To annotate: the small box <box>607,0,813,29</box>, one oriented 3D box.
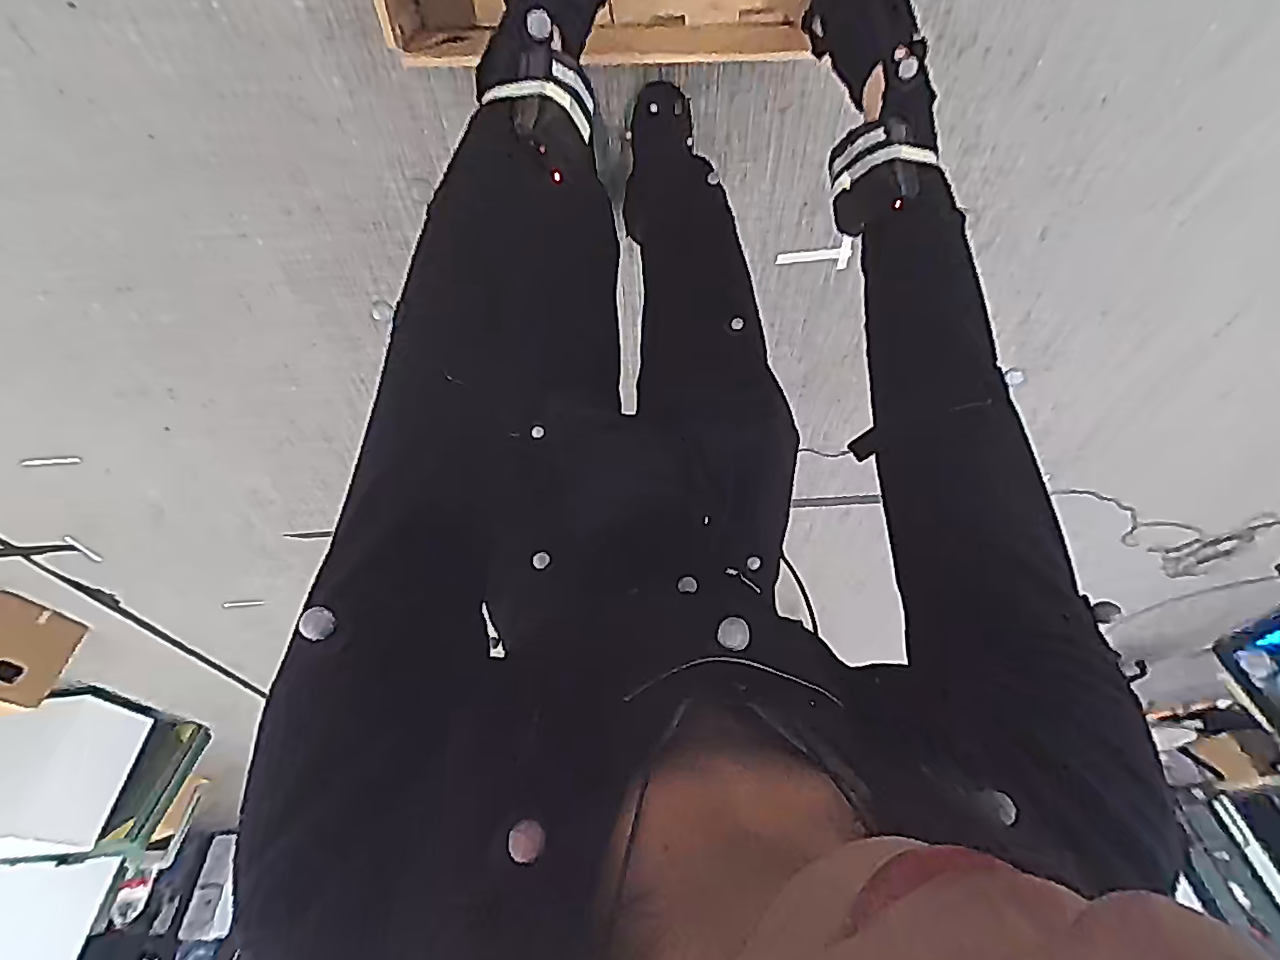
[{"bbox_3d":[0.049,-0.487,0.428,0.168,0.176,0.179,-5,136,0],"label":"small box"}]
